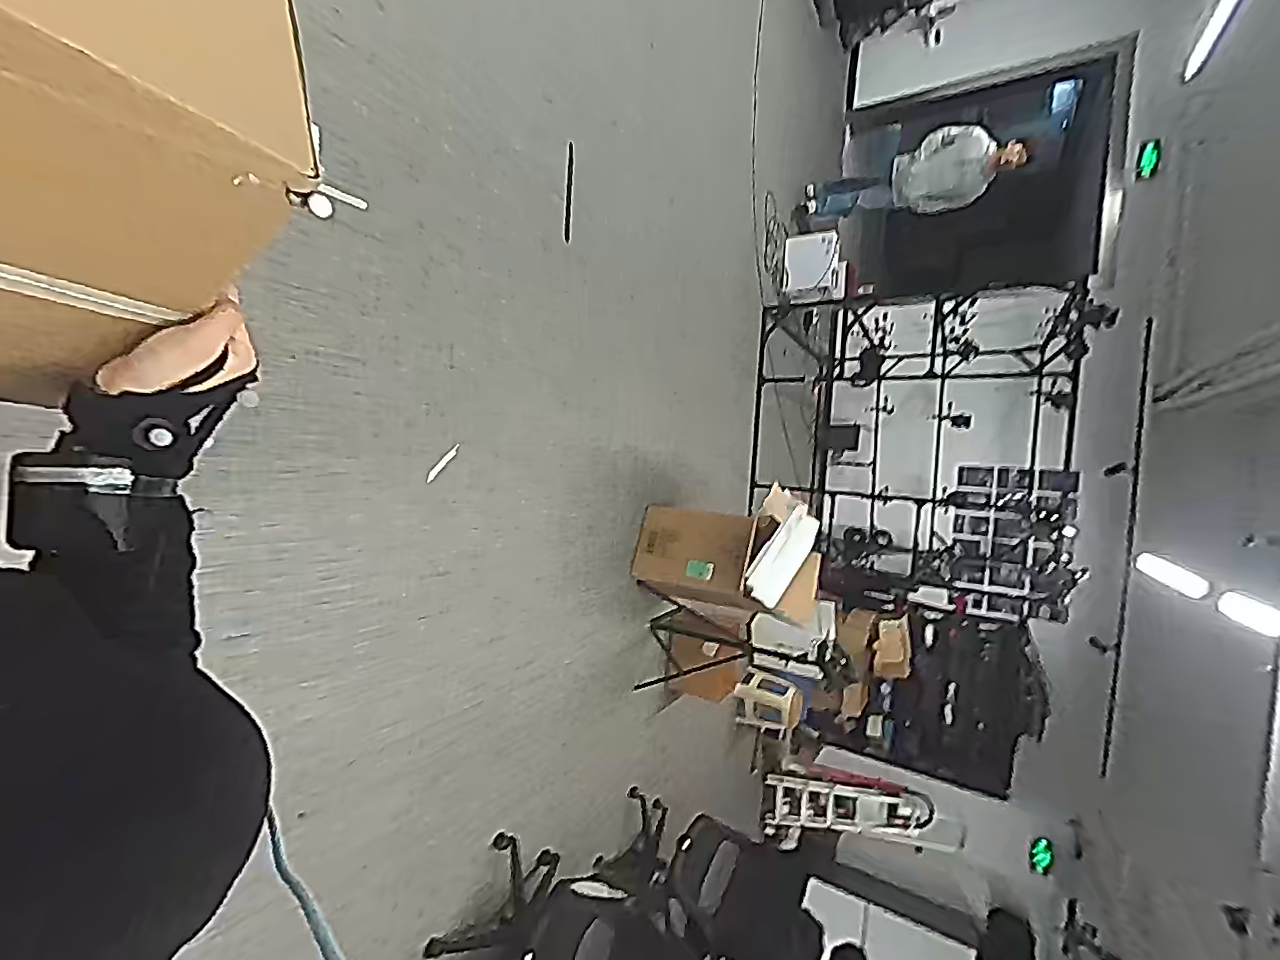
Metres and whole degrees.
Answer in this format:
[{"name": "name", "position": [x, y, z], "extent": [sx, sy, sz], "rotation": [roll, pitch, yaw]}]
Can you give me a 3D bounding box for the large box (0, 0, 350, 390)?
[{"name": "large box", "position": [-0.423, -0.276, 0.229], "extent": [0.408, 0.320, 0.320], "rotation": [6, 64, -59]}]
